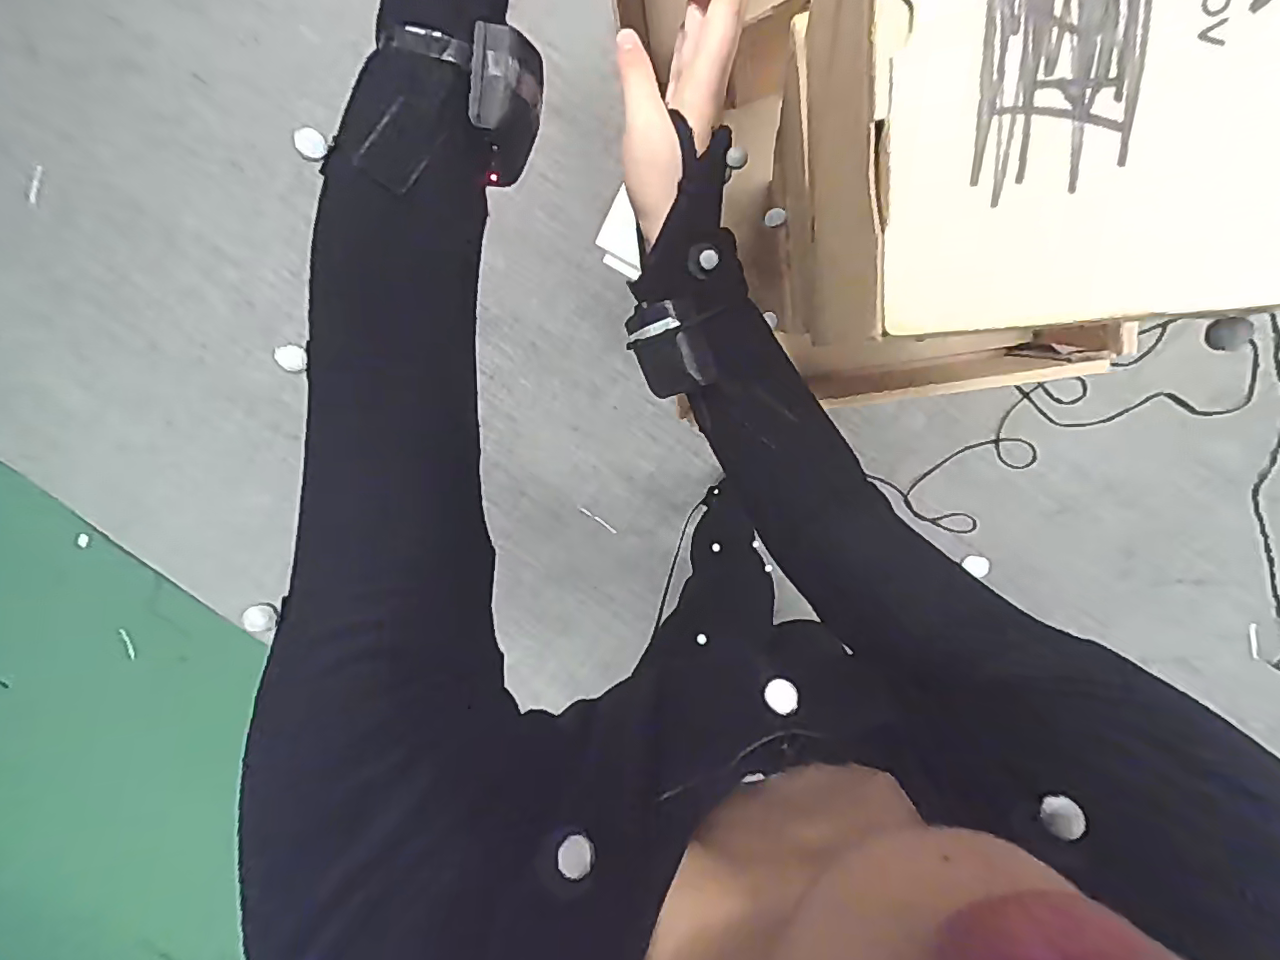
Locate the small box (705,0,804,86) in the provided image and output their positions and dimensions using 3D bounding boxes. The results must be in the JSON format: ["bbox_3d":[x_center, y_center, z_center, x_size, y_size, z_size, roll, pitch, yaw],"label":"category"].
[{"bbox_3d":[0.136,-0.489,0.475,0.168,0.176,0.179,-16,103,14],"label":"small box"}]

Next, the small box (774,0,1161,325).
[{"bbox_3d":[0.190,-0.203,0.366,0.179,0.176,0.168,-5,101,12],"label":"small box"}]
